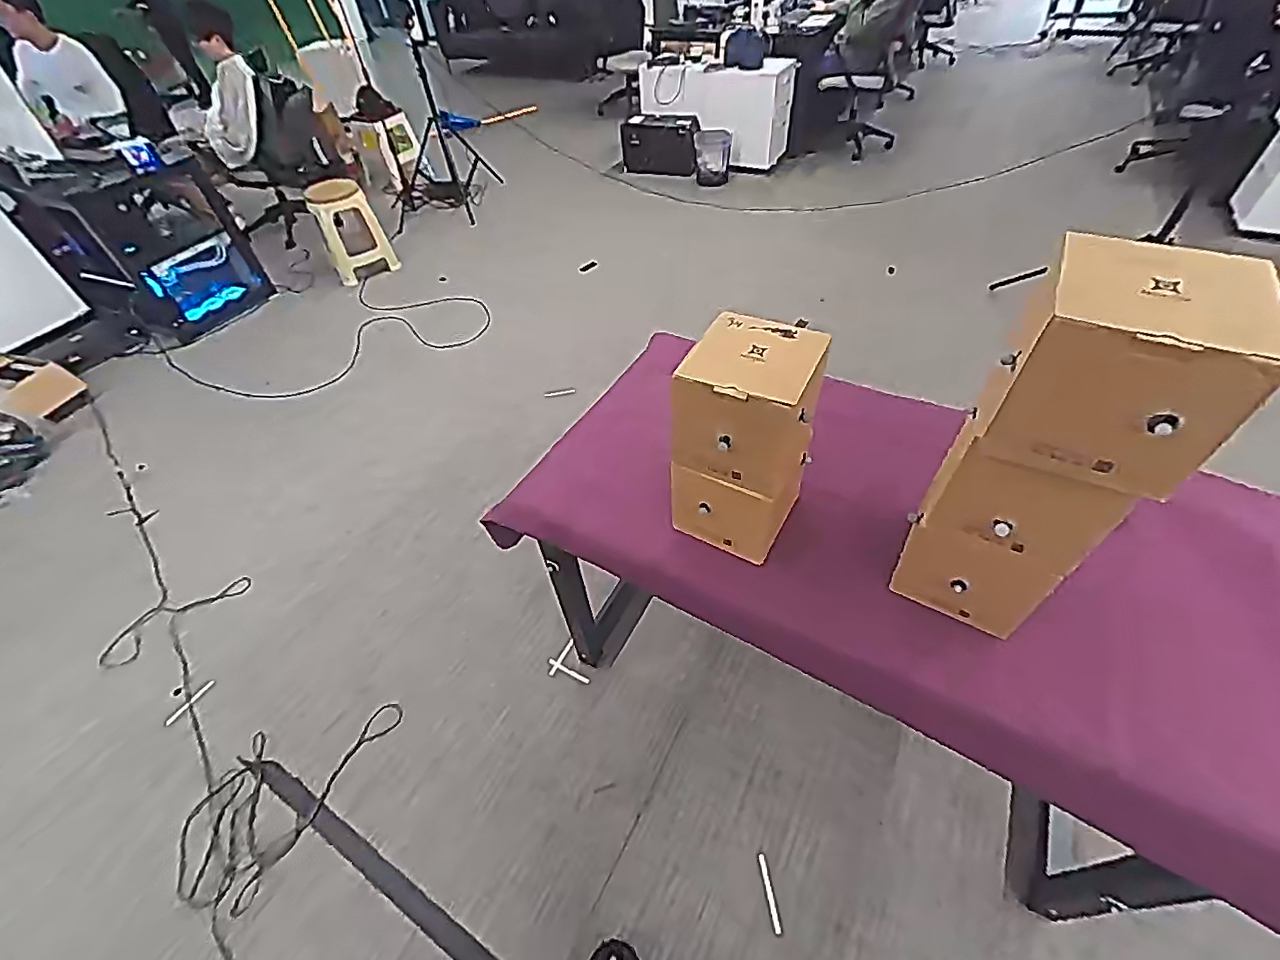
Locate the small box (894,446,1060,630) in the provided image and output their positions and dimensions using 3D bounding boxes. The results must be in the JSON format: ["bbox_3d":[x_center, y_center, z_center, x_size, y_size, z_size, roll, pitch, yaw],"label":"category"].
[{"bbox_3d":[0.495,0.087,0.794,0.168,0.176,0.179,24,54,23],"label":"small box"}]

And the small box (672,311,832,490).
[{"bbox_3d":[0.159,-0.114,0.783,0.168,0.176,0.179,20,52,20],"label":"small box"}]

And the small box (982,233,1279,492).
[{"bbox_3d":[0.470,-0.116,0.540,0.168,0.176,0.179,21,53,21],"label":"small box"}]

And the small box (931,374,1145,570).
[{"bbox_3d":[0.489,-0.024,0.673,0.168,0.176,0.179,23,54,24],"label":"small box"}]

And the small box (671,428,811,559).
[{"bbox_3d":[0.166,0.001,0.899,0.168,0.176,0.179,22,52,22],"label":"small box"}]
